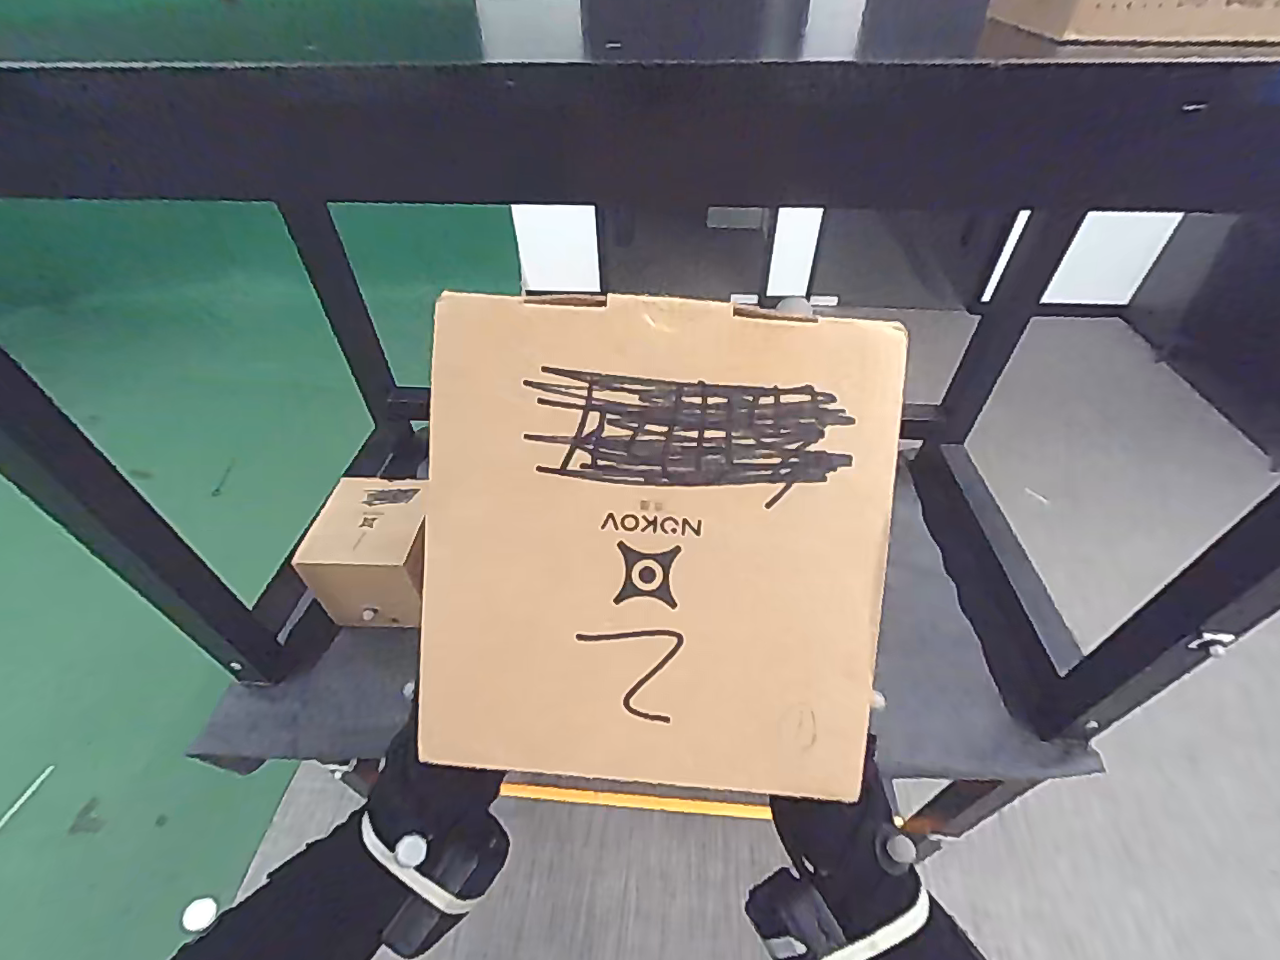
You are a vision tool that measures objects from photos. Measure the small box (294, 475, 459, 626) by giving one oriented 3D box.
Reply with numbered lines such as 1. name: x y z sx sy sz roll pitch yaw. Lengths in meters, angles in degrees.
1. small box: -0.404 0.113 0.872 0.168 0.176 0.179 1 44 2

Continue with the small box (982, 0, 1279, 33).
1. small box: 0.298 -0.327 0.258 0.168 0.176 0.179 9 44 10
